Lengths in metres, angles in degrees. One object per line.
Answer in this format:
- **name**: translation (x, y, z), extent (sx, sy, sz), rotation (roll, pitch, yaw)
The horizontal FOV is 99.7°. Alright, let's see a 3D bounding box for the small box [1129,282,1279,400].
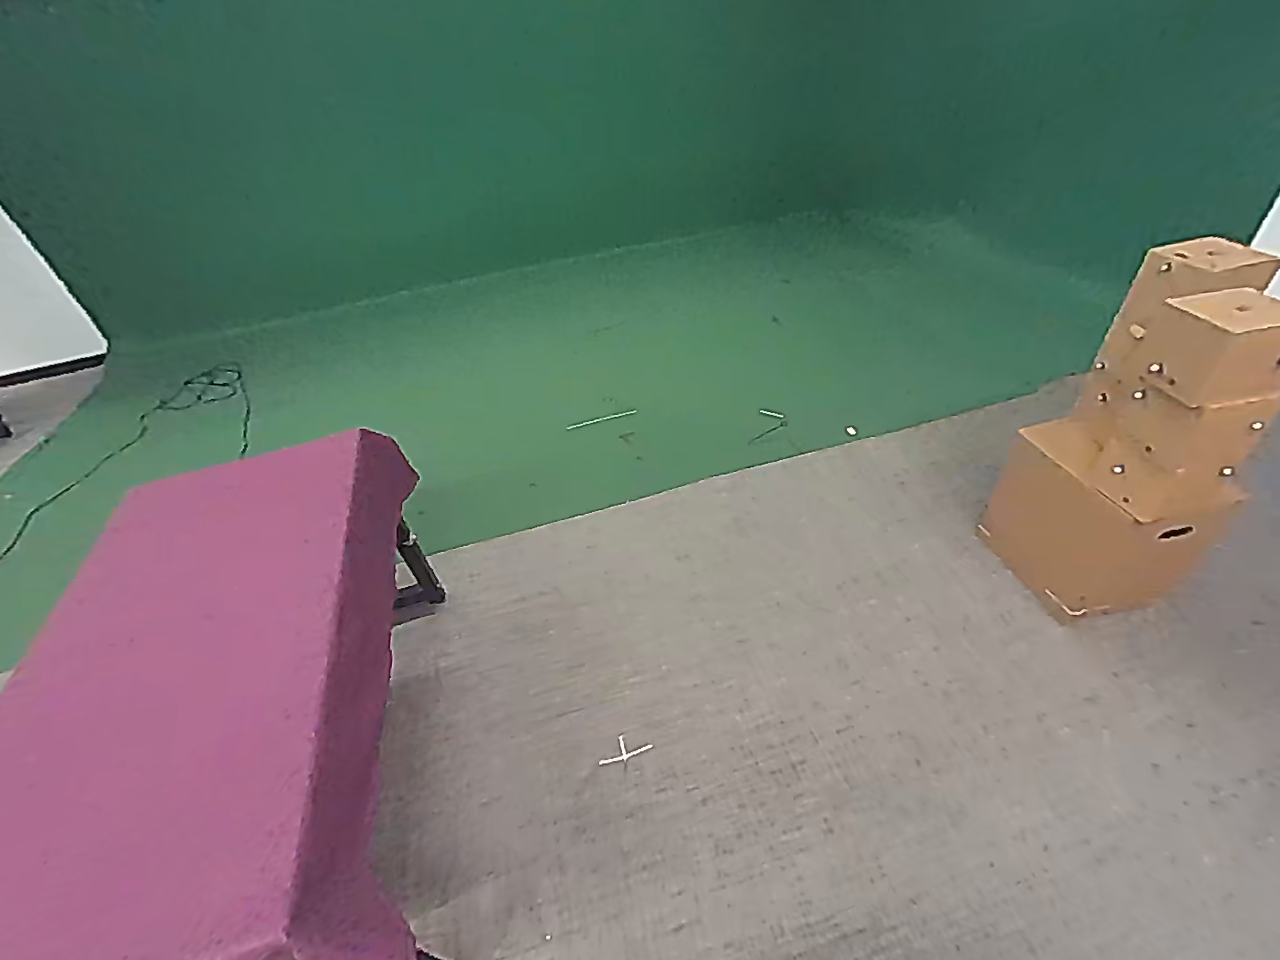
- **small box**: translation (1.179, -0.284, 1.110), extent (0.179, 0.176, 0.168), rotation (-9, 40, 1)

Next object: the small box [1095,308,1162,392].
- **small box**: translation (1.333, -0.342, 1.399), extent (0.179, 0.176, 0.168), rotation (-6, 41, 2)

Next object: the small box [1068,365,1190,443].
- **small box**: translation (1.351, -0.215, 1.503), extent (0.168, 0.176, 0.179), rotation (-9, 42, 1)

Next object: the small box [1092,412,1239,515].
- **small box**: translation (1.257, -0.038, 1.315), extent (0.179, 0.176, 0.168), rotation (-14, 41, -5)

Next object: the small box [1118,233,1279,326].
- **small box**: translation (1.319, -0.470, 1.295), extent (0.179, 0.176, 0.168), rotation (-11, 40, -3)
